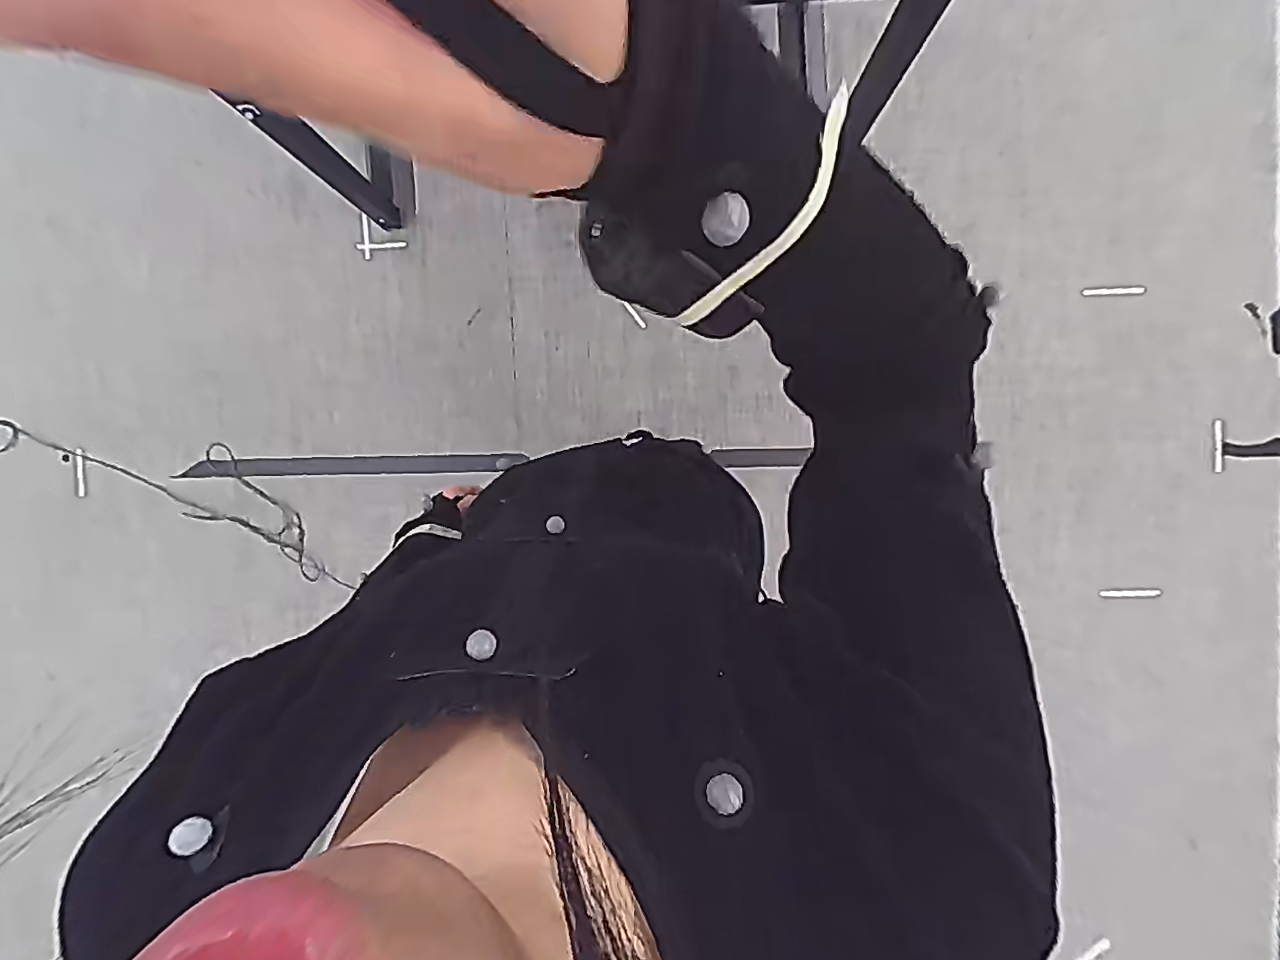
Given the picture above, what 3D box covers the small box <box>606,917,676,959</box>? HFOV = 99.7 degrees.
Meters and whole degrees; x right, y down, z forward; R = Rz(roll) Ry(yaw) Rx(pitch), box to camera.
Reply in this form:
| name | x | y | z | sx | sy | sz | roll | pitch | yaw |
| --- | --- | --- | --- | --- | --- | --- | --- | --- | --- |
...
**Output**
| name | x | y | z | sx | sy | sz | roll | pitch | yaw |
| --- | --- | --- | --- | --- | --- | --- | --- | --- | --- |
| small box | 0.007 | 1.319 | 1.446 | 0.168 | 0.176 | 0.179 | -16 | 91 | 2 |
